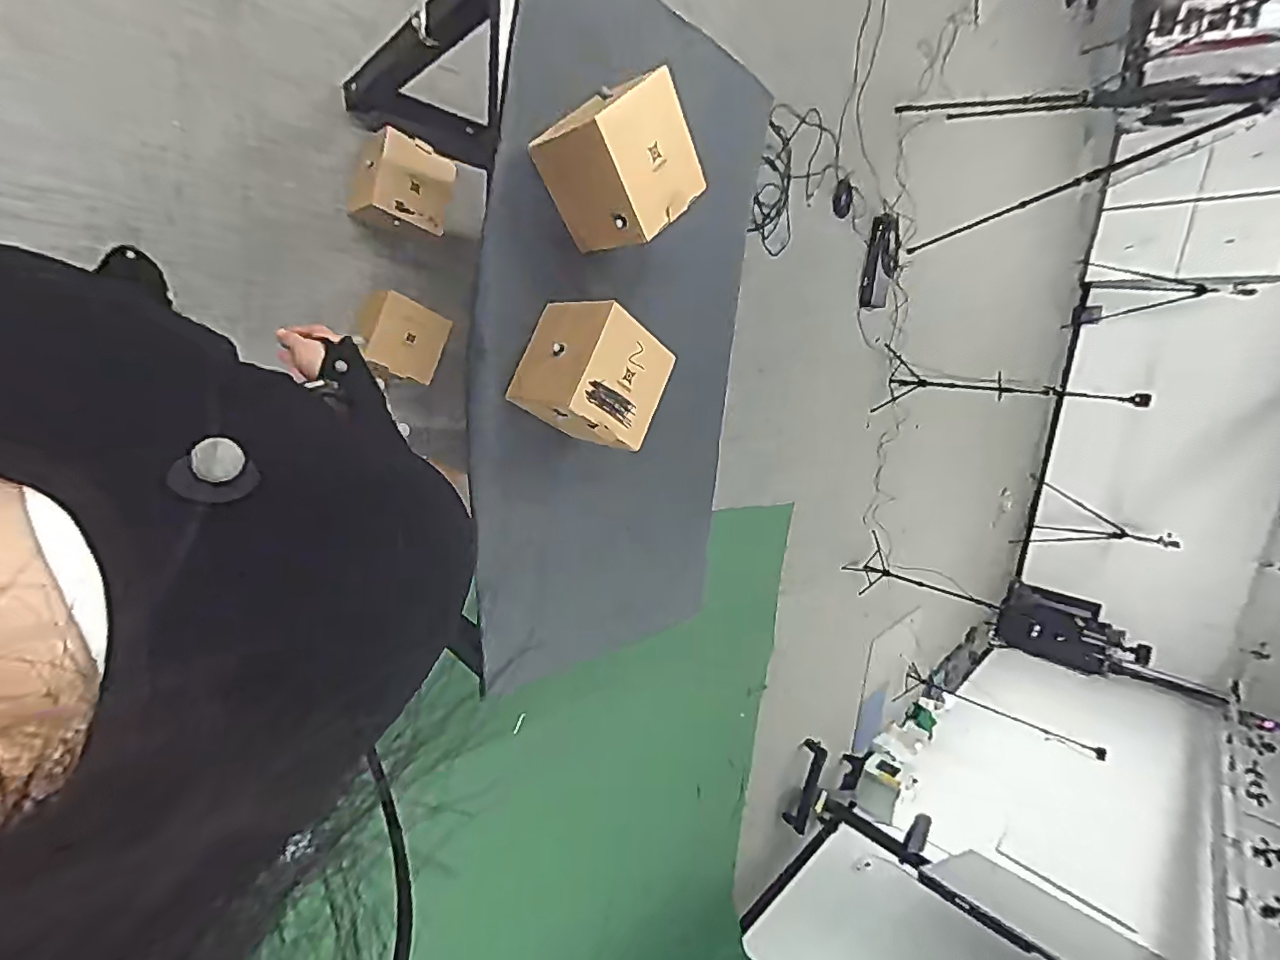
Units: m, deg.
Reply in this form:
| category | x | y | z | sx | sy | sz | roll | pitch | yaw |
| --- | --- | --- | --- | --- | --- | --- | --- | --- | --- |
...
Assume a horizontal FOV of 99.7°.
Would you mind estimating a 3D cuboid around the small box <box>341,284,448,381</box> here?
| category | x | y | z | sx | sy | sz | roll | pitch | yaw |
| --- | --- | --- | --- | --- | --- | --- | --- | --- | --- |
| small box | -0.614 | -0.361 | 1.340 | 0.168 | 0.176 | 0.179 | 23 | 84 | -47 |

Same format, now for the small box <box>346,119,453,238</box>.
| category | x | y | z | sx | sy | sz | roll | pitch | yaw |
| --- | --- | --- | --- | --- | --- | --- | --- | --- | --- |
| small box | -0.573 | -0.701 | 1.280 | 0.168 | 0.176 | 0.179 | 11 | 93 | -46 |

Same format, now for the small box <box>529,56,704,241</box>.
| category | x | y | z | sx | sy | sz | roll | pitch | yaw |
| --- | --- | --- | --- | --- | --- | --- | --- | --- | --- |
| small box | -0.036 | -0.493 | 0.829 | 0.168 | 0.176 | 0.179 | -51 | 133 | -22 |
